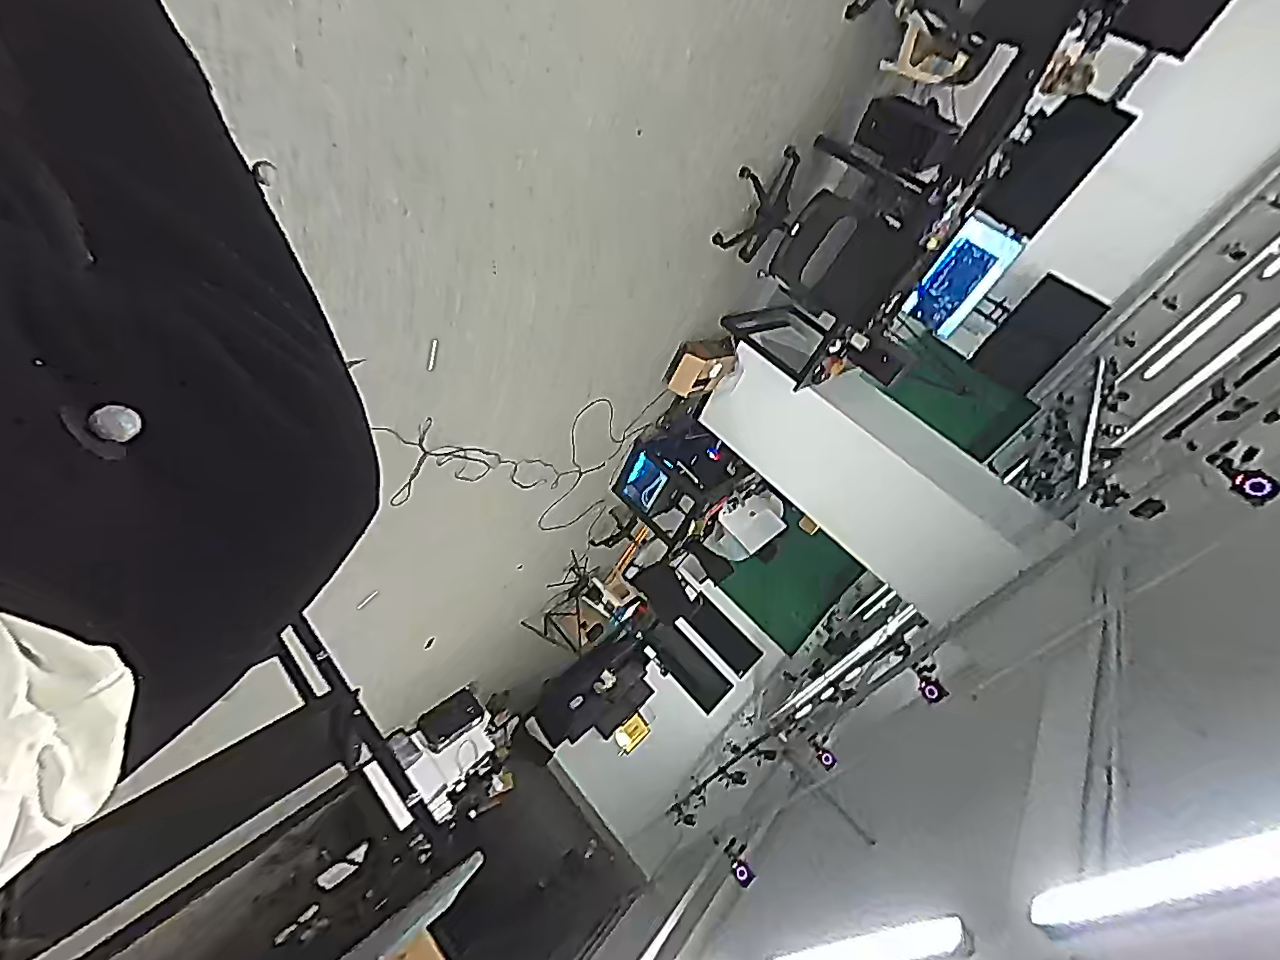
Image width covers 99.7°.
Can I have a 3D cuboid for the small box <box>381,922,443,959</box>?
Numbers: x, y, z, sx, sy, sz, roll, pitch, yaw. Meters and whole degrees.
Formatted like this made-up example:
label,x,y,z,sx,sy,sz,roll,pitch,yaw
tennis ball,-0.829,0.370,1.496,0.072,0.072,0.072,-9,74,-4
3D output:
label,x,y,z,sx,sy,sz,roll,pitch,yaw
small box,-0.792,1.673,1.844,0.179,0.176,0.168,-26,152,-43
